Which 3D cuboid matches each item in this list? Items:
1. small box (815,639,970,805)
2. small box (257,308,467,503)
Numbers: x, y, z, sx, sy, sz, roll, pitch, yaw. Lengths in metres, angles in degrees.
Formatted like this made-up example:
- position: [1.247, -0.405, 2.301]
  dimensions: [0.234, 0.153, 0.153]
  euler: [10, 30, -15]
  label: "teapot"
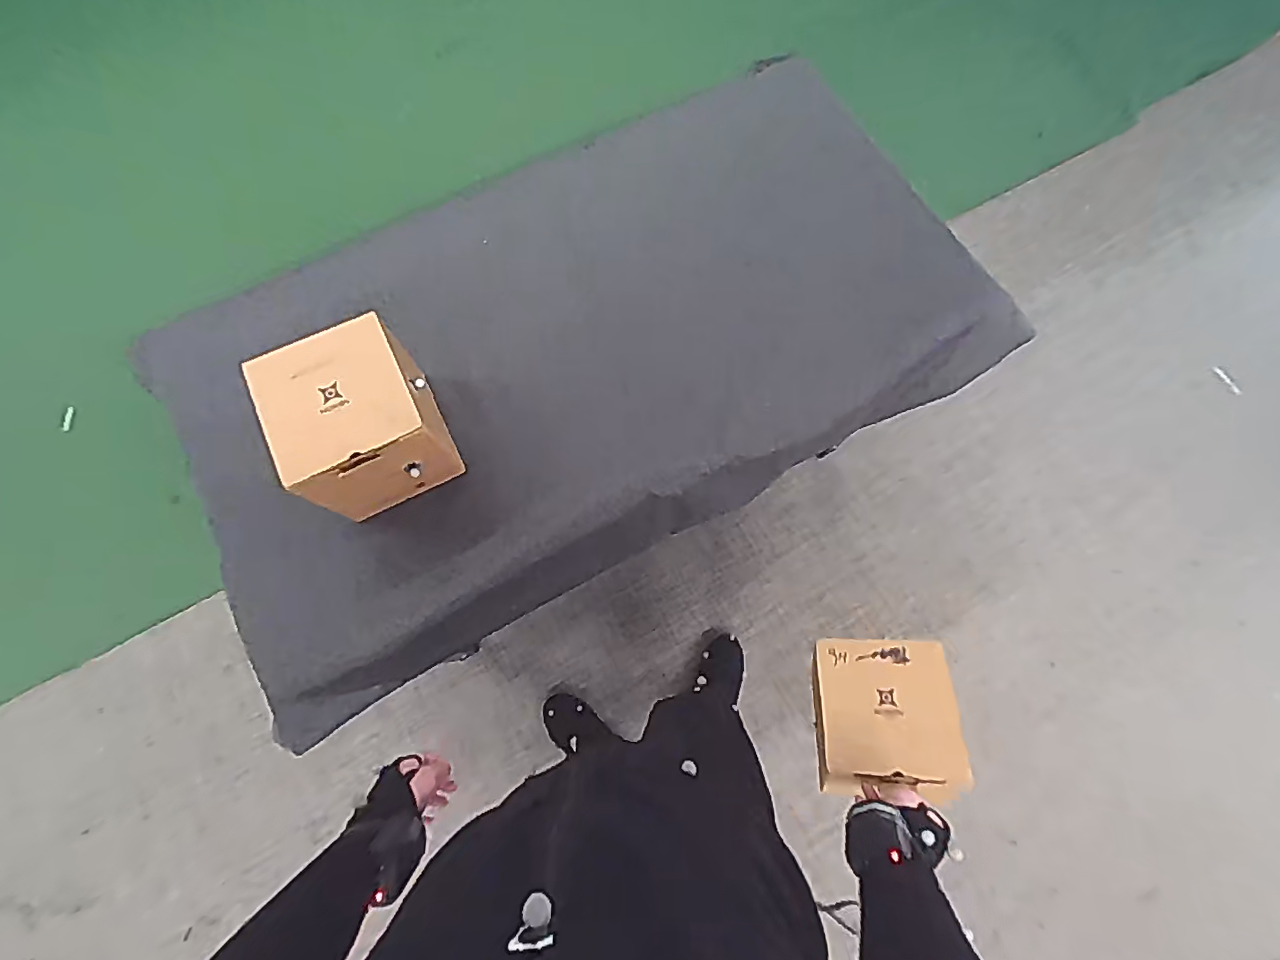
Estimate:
- position: [0.340, 0.343, 0.765]
  dimensions: [0.168, 0.176, 0.179]
  euler: [-2, 51, 14]
  label: "small box"
- position: [-0.349, -0.083, 0.712]
  dimensions: [0.168, 0.176, 0.179]
  euler: [-25, 74, -10]
  label: "small box"
